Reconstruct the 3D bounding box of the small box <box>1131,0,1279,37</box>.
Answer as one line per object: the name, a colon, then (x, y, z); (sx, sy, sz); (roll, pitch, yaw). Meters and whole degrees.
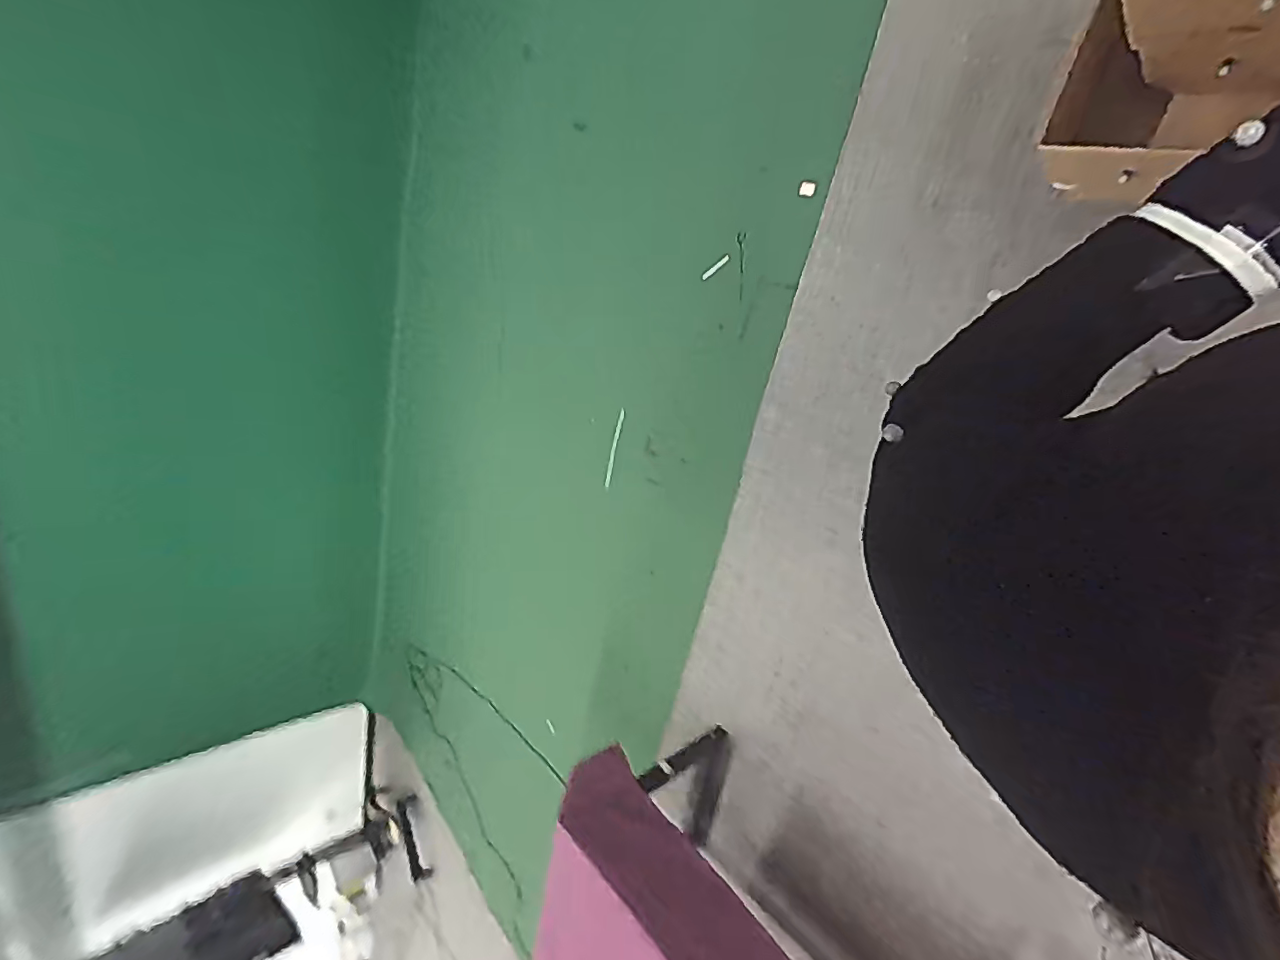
small box: (0.606, -0.553, 0.507); (0.168, 0.176, 0.179); (34, 117, 39)
